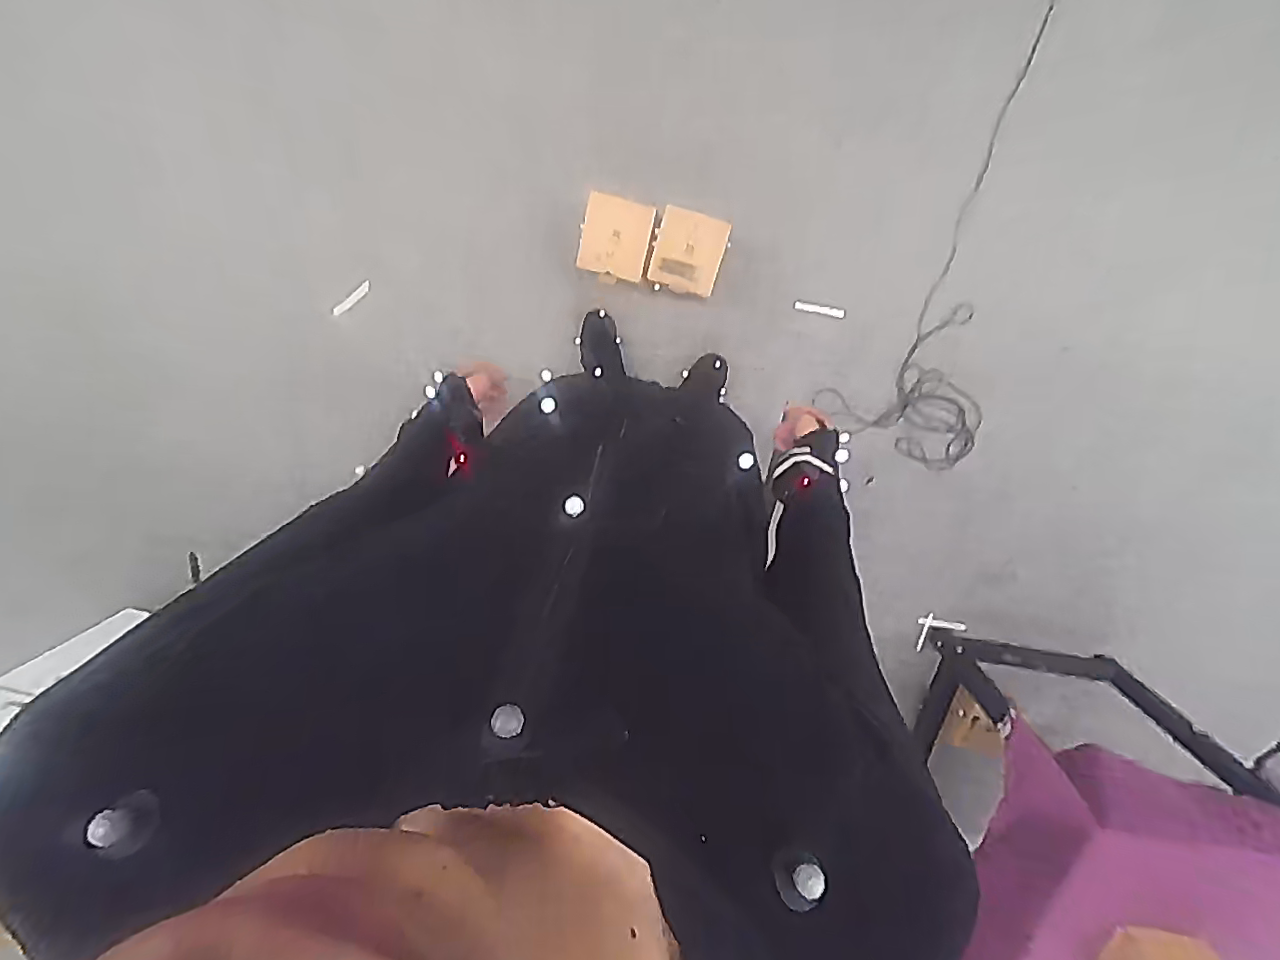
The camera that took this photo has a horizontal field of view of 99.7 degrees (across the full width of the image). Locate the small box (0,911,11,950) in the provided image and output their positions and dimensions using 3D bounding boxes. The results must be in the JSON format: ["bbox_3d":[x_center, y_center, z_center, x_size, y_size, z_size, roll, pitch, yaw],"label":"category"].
[{"bbox_3d":[-1.628,1.074,1.237,0.168,0.176,0.179,9,110,3],"label":"small box"}]

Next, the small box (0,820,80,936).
[{"bbox_3d":[-1.615,1.017,1.390,0.179,0.176,0.168,13,109,1],"label":"small box"}]
